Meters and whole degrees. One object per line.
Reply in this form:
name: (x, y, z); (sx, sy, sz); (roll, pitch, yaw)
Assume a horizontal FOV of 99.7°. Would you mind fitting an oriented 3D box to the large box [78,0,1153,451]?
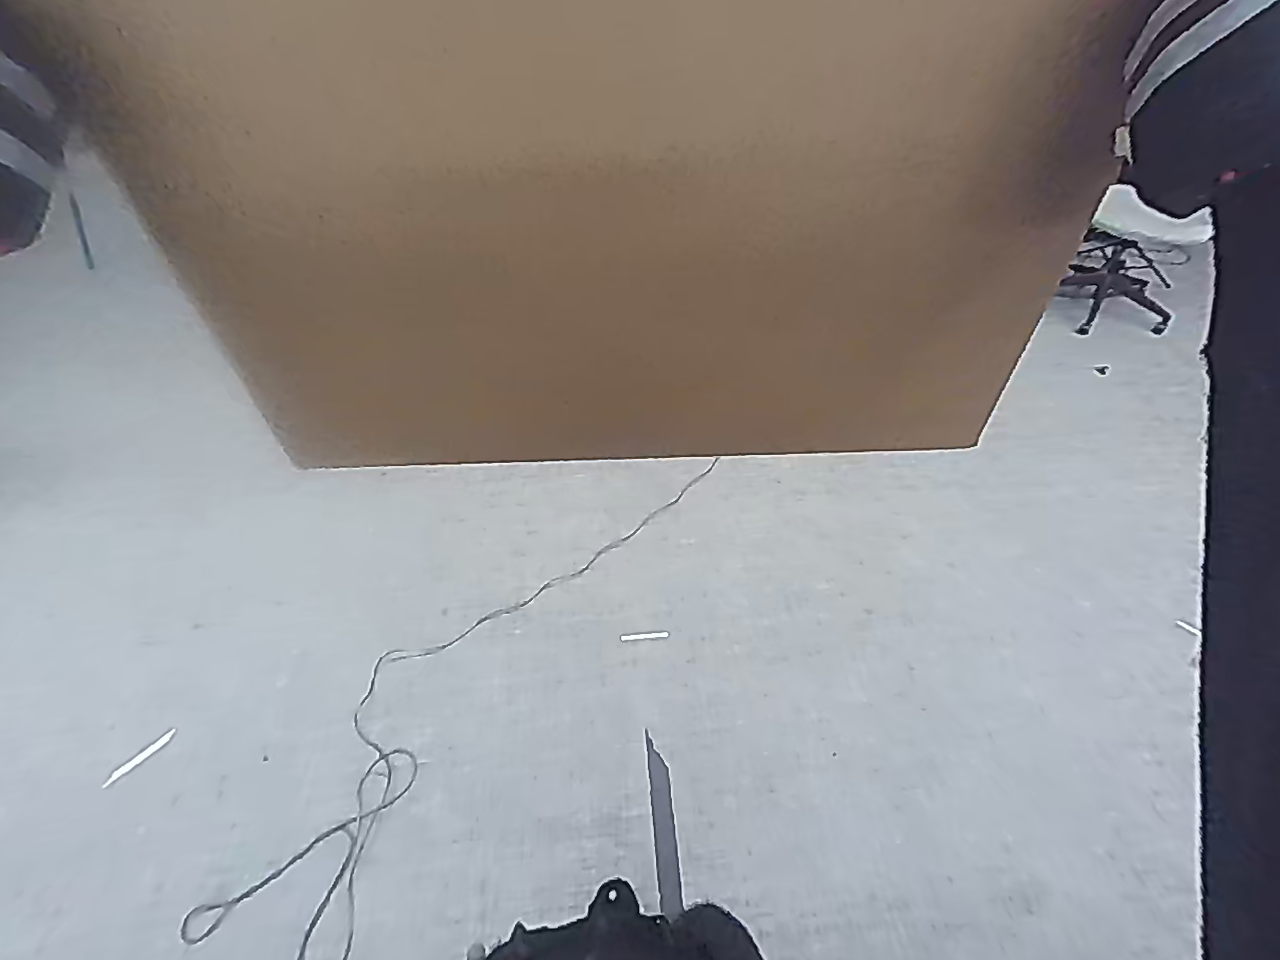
large box: (-0.009, -0.233, 0.342); (0.408, 0.320, 0.320); (-1, 44, -1)
